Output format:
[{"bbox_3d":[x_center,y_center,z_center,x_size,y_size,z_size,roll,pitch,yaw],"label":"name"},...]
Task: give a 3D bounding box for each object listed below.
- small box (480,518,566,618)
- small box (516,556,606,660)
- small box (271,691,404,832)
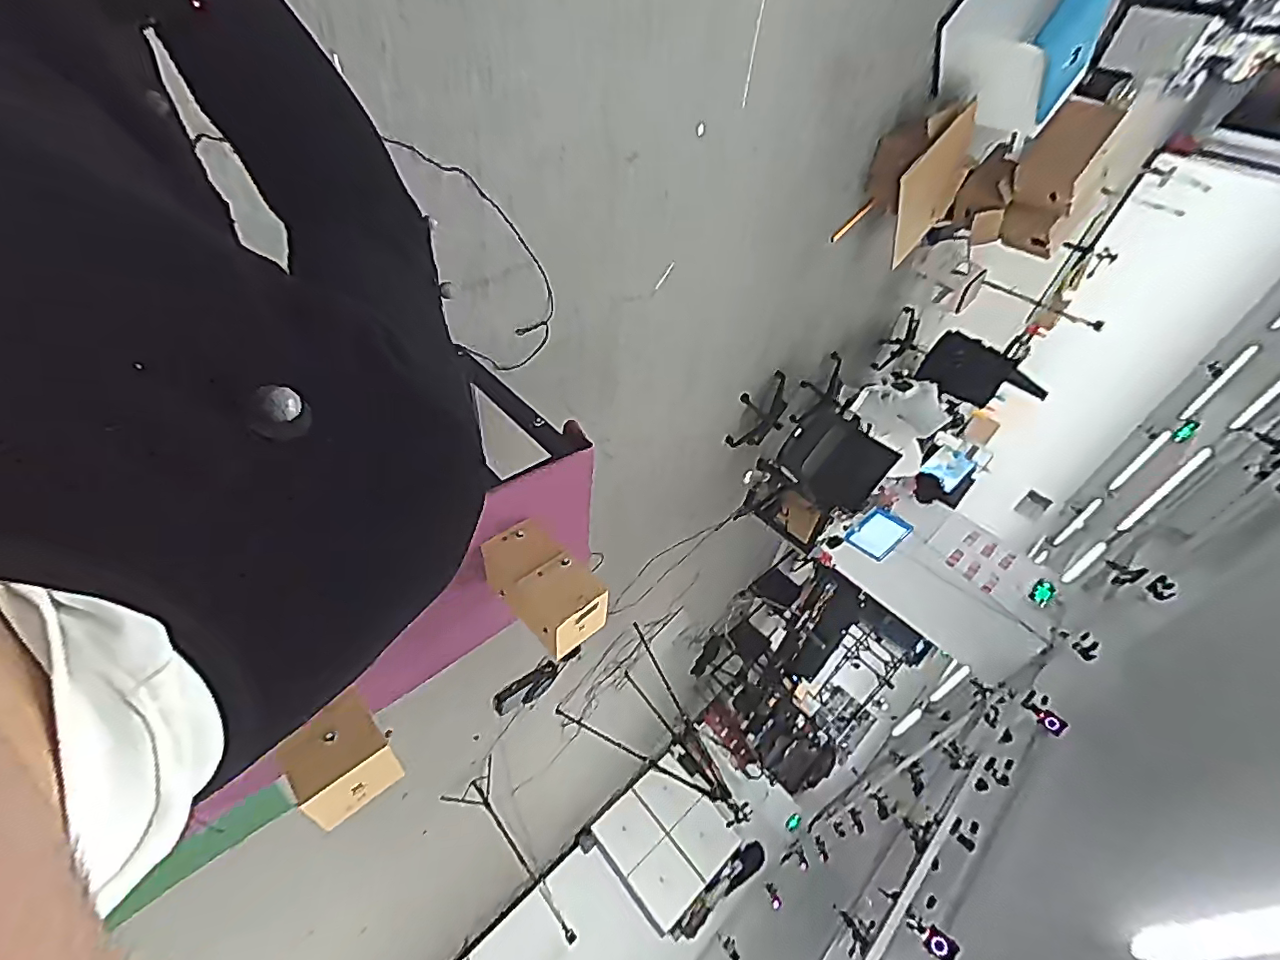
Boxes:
[{"bbox_3d":[-0.321,0.238,1.490,0.168,0.176,0.179,-31,146,-32],"label":"small box"},{"bbox_3d":[-0.208,0.323,1.409,0.168,0.176,0.179,-31,148,-33],"label":"small box"},{"bbox_3d":[-0.616,0.567,1.106,0.168,0.176,0.179,-30,146,-33],"label":"small box"}]
